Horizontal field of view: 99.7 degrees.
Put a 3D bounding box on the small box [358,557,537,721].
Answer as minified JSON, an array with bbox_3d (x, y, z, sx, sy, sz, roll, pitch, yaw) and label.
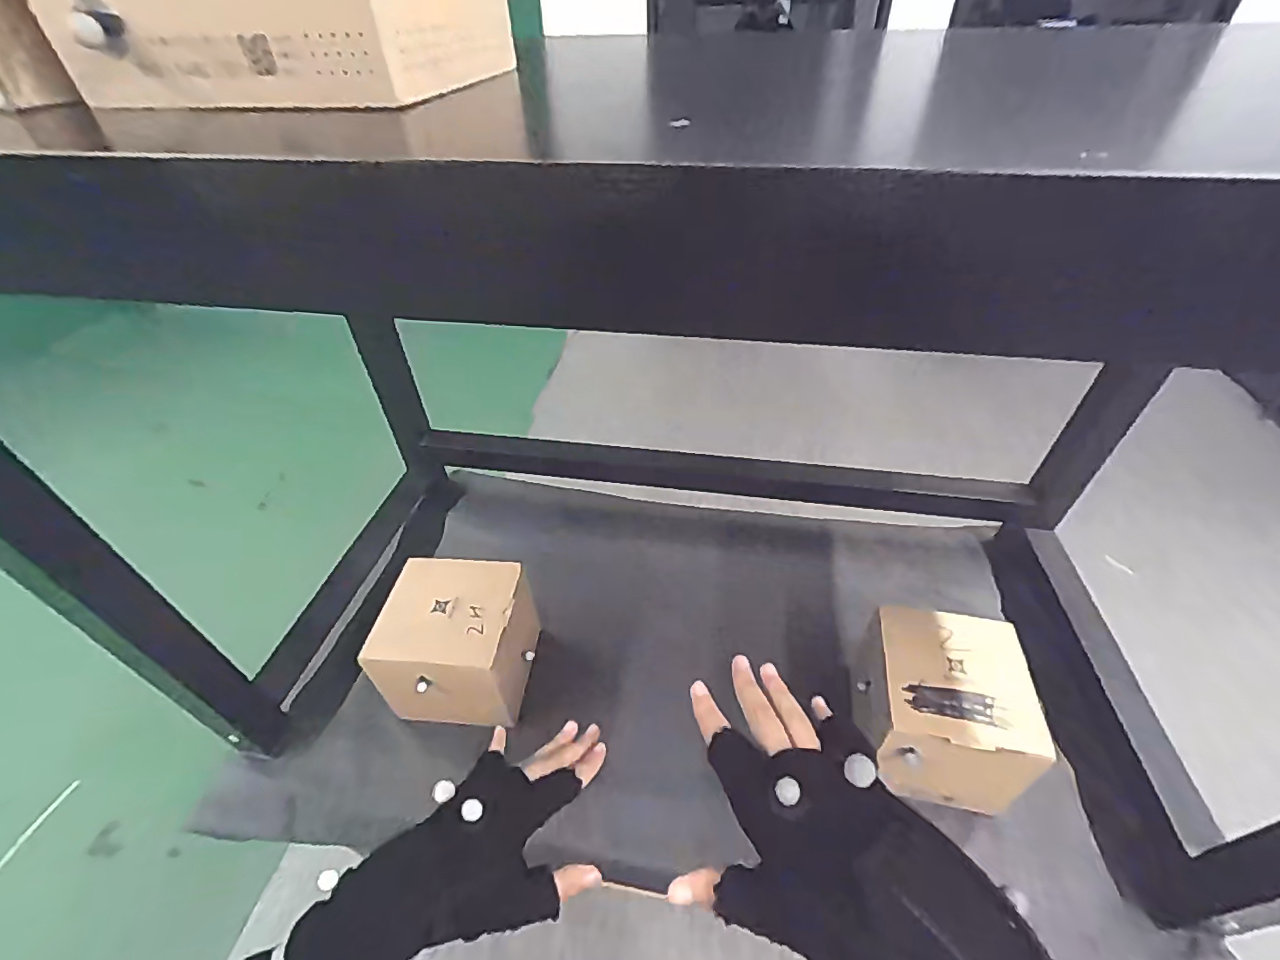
[{"bbox_3d":[-0.261,0.231,0.784,0.179,0.176,0.168,3,43,4],"label":"small box"}]

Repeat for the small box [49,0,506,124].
[{"bbox_3d":[-0.180,-0.288,0.270,0.168,0.176,0.179,5,42,7],"label":"small box"}]
